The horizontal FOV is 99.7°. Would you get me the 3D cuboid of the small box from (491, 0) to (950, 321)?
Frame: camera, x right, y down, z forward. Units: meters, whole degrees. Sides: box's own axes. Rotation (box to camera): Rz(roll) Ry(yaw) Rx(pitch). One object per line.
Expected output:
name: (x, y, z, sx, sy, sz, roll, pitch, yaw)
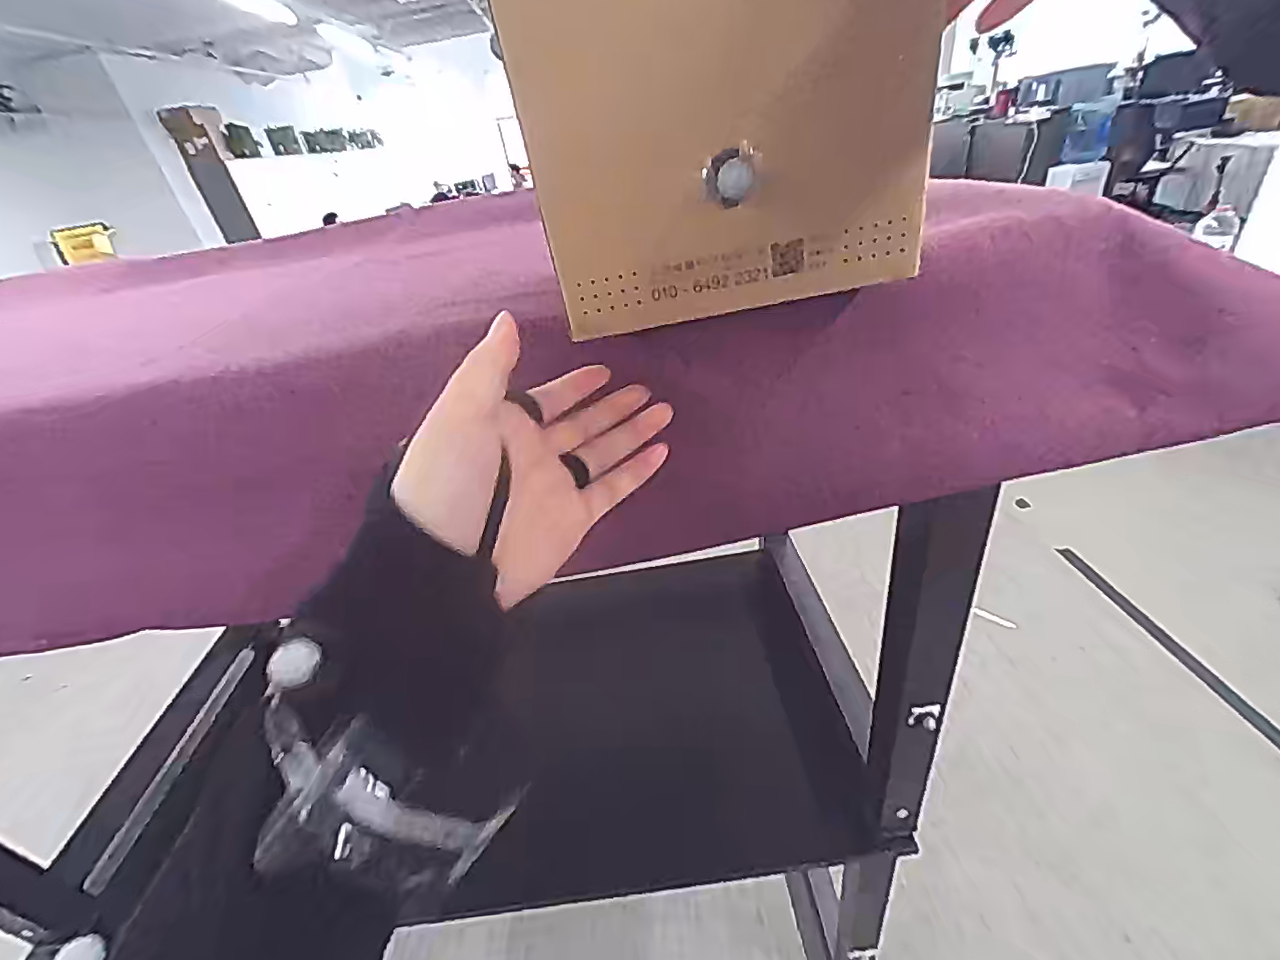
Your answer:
small box: (0.028, -0.193, 0.269, 0.168, 0.176, 0.179, -10, 33, 3)
